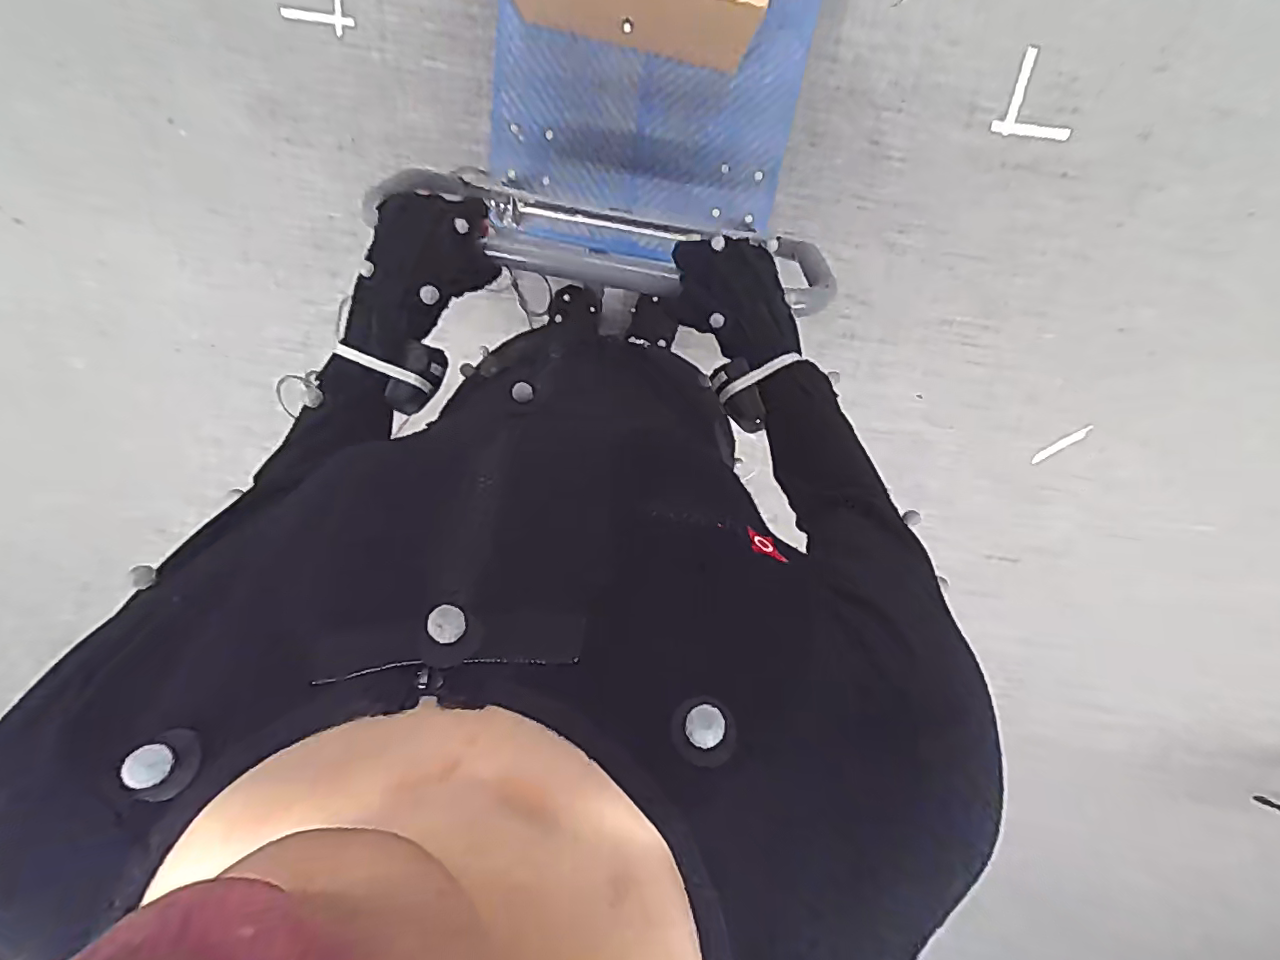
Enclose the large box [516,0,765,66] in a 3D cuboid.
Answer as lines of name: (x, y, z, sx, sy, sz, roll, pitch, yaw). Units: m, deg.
large box: (0.010, -0.886, 0.818, 0.408, 0.320, 0.320, 11, 113, -3)
